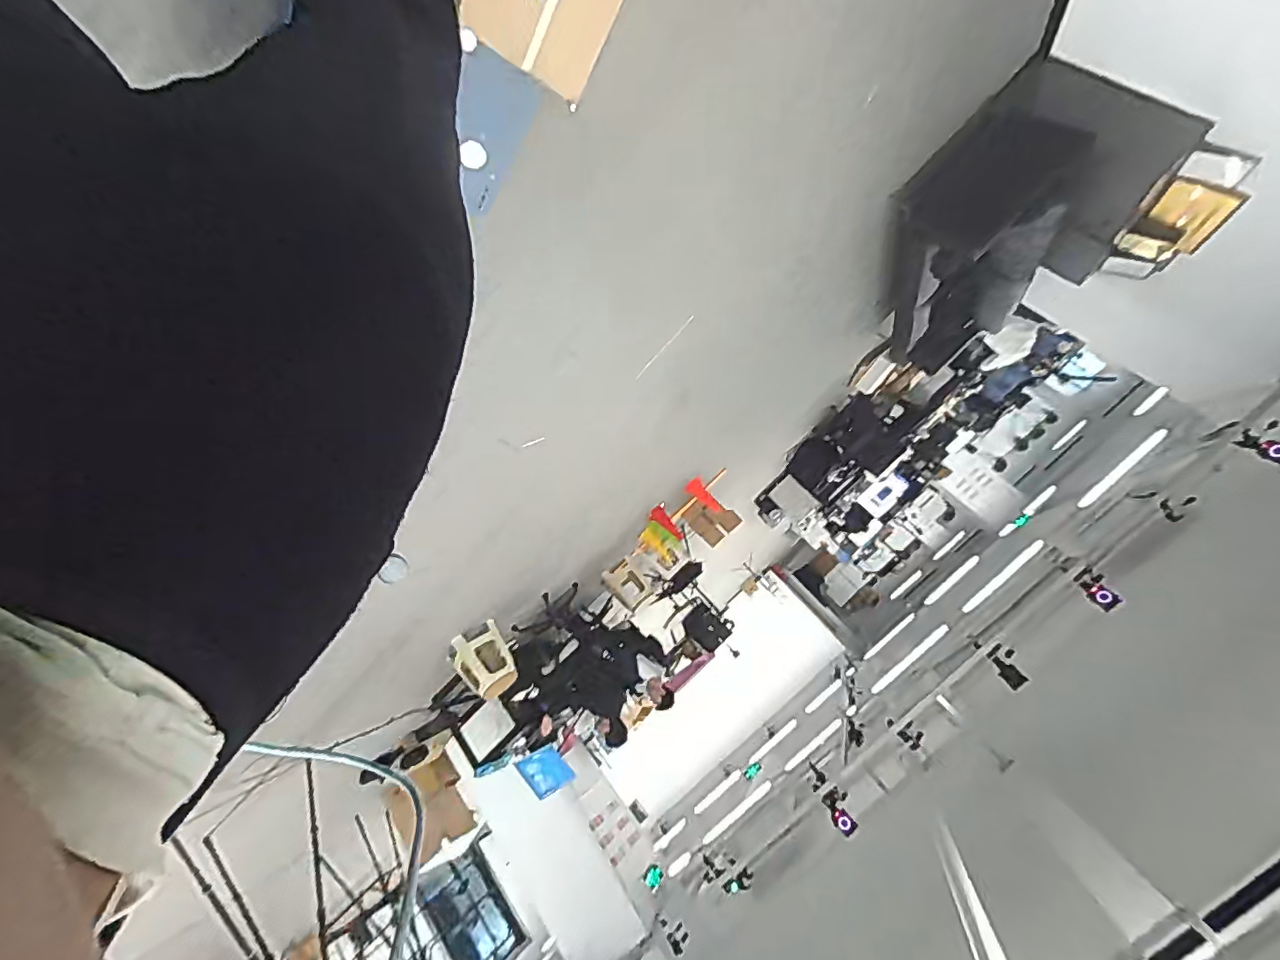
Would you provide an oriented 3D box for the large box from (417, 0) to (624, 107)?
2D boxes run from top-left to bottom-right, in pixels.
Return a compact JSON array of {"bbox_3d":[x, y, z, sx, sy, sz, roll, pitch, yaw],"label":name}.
[{"bbox_3d":[-0.219,-1.040,1.017,0.320,0.320,0.408,-10,142,-53],"label":"large box"}]
